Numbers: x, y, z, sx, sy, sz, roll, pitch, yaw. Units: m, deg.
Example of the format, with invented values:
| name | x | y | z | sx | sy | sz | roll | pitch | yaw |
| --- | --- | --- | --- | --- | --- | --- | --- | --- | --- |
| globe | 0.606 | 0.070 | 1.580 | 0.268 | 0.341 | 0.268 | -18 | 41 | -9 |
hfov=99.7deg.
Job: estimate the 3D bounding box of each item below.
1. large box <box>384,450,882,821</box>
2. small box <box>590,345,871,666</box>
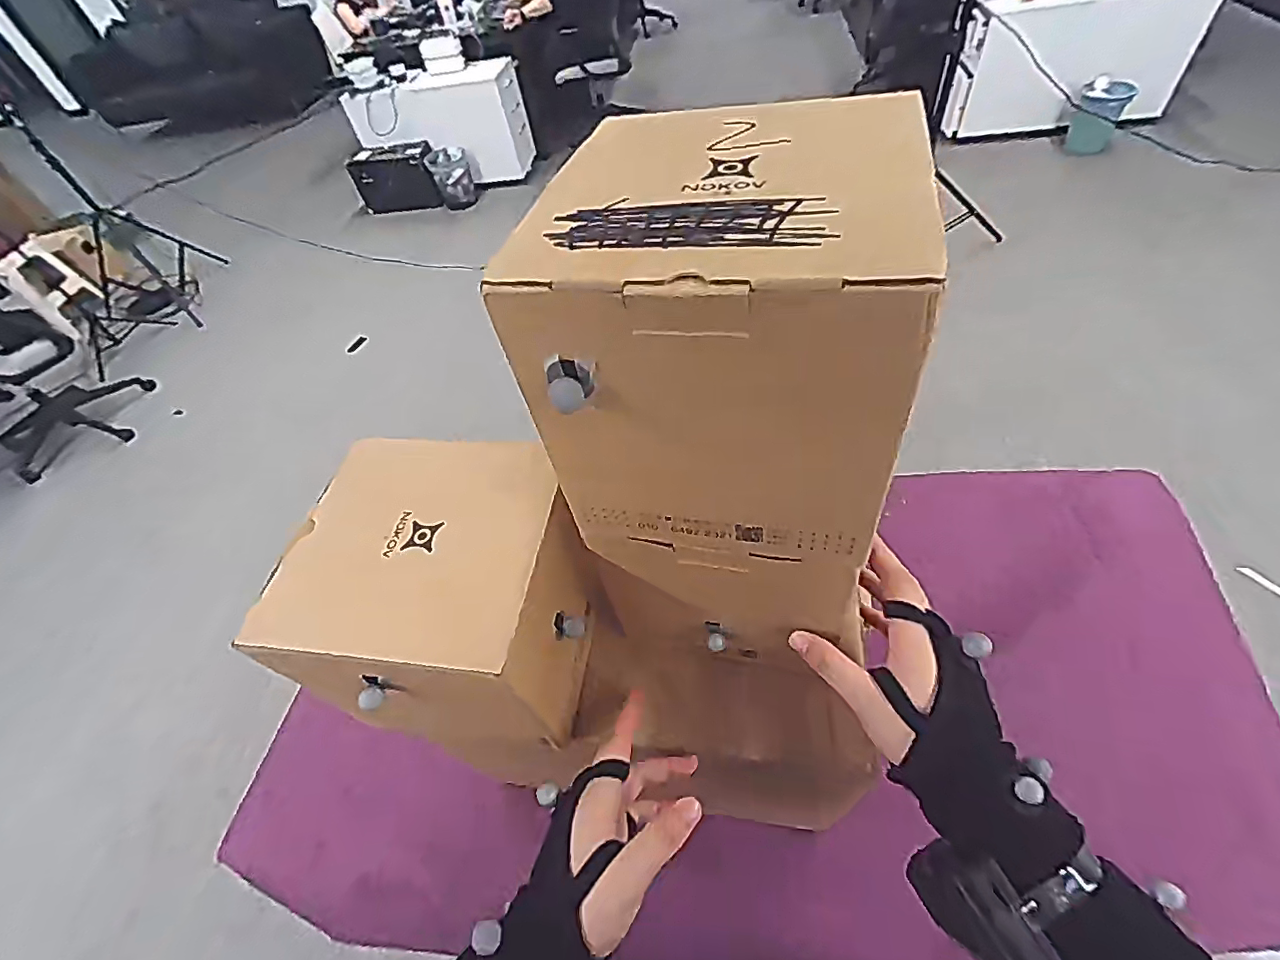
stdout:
| name | x | y | z | sx | sy | sz | roll | pitch | yaw |
| --- | --- | --- | --- | --- | --- | --- | --- | --- | --- |
| large box | 0.019 | 0.177 | 0.622 | 0.408 | 0.320 | 0.320 | 0 | 50 | 12 |
| small box | 0.078 | 0.018 | 0.420 | 0.168 | 0.176 | 0.179 | 5 | 52 | 16 |
